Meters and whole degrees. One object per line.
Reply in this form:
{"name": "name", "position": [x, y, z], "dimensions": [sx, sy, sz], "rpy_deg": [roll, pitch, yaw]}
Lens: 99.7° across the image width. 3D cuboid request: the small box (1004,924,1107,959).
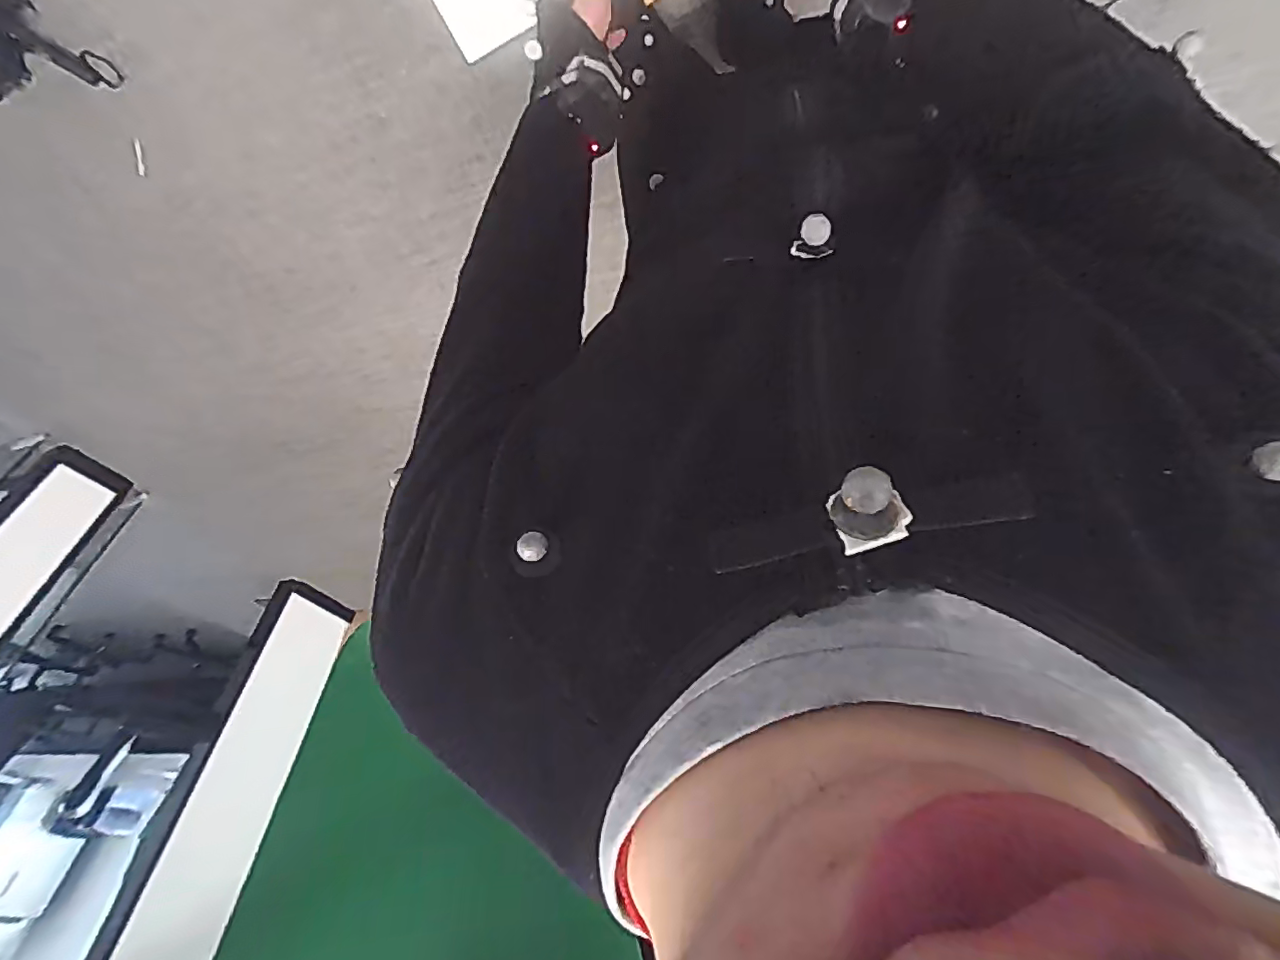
{"name": "small box", "position": [0.945, 1.110, 1.211], "dimensions": [0.168, 0.176, 0.179], "rpy_deg": [-9, 140, 18]}
